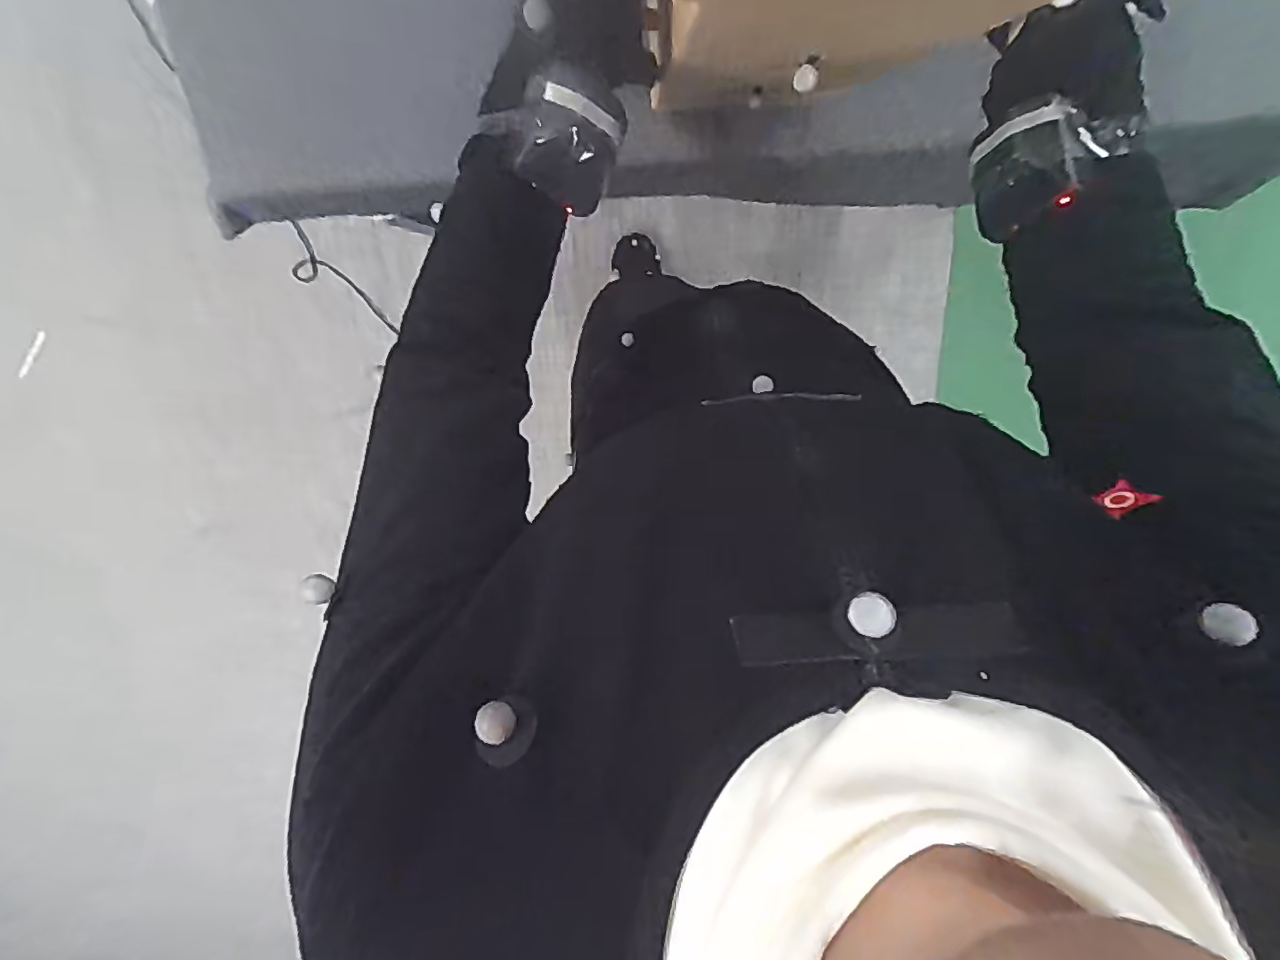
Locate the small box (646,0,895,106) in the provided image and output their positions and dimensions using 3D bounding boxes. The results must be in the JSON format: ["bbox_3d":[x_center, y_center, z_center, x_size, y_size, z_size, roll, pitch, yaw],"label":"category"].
[{"bbox_3d":[0.097,-0.407,0.420,0.179,0.176,0.168,-1,115,-1],"label":"small box"}]

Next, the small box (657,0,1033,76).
[{"bbox_3d":[0.102,-0.329,0.279,0.179,0.176,0.168,-3,115,-1],"label":"small box"}]
